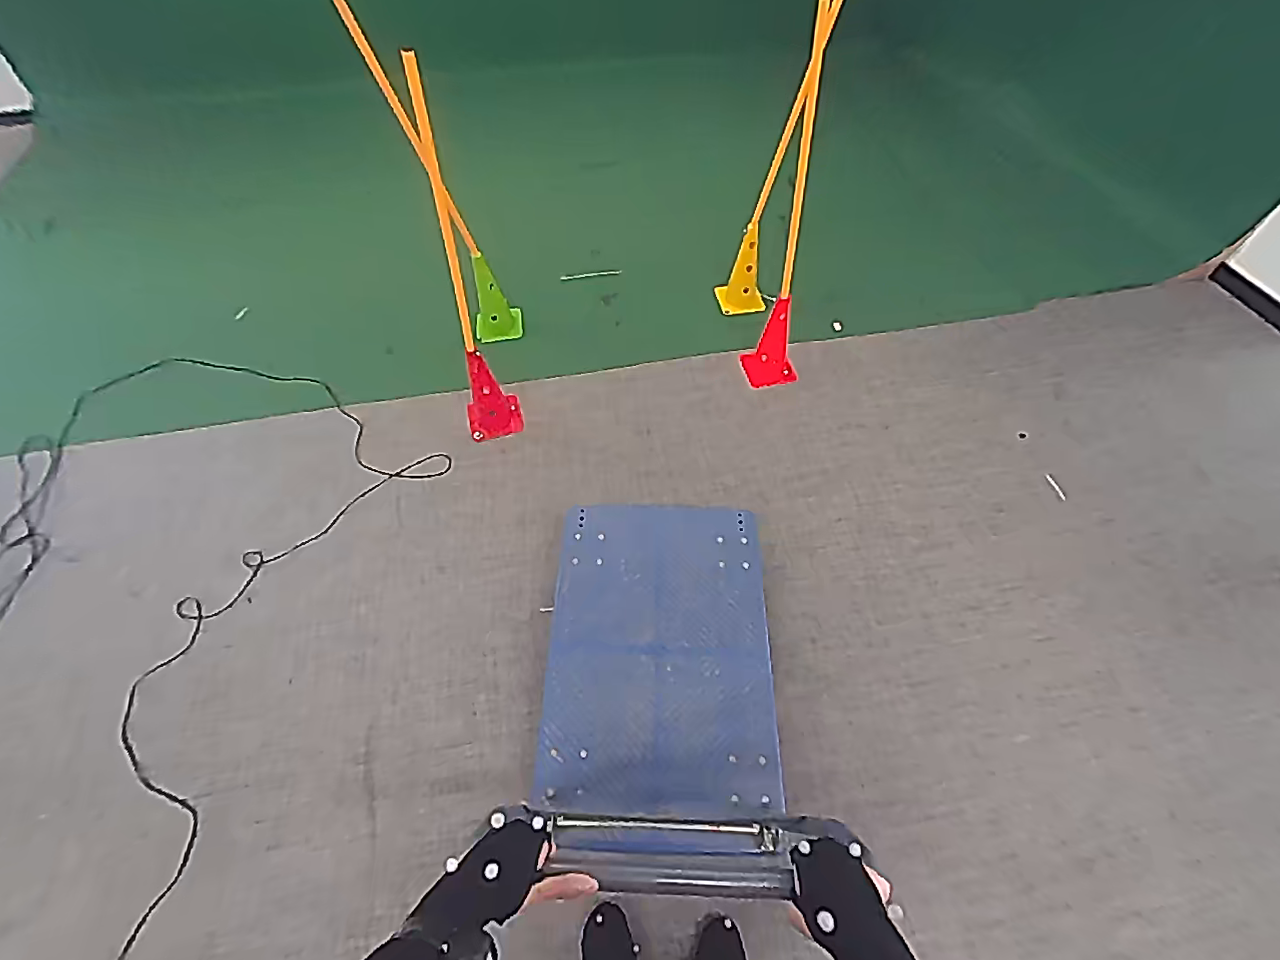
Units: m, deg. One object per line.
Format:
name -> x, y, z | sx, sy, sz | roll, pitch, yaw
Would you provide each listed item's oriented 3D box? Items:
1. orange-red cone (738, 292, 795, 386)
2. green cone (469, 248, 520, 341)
orange-red cone -> 0.516, -0.560, 2.080 | 0.198, 0.360, 0.199 | -8, 54, -6
green cone -> -0.639, -0.789, 2.251 | 0.200, 0.368, 0.202 | -9, 55, -5
